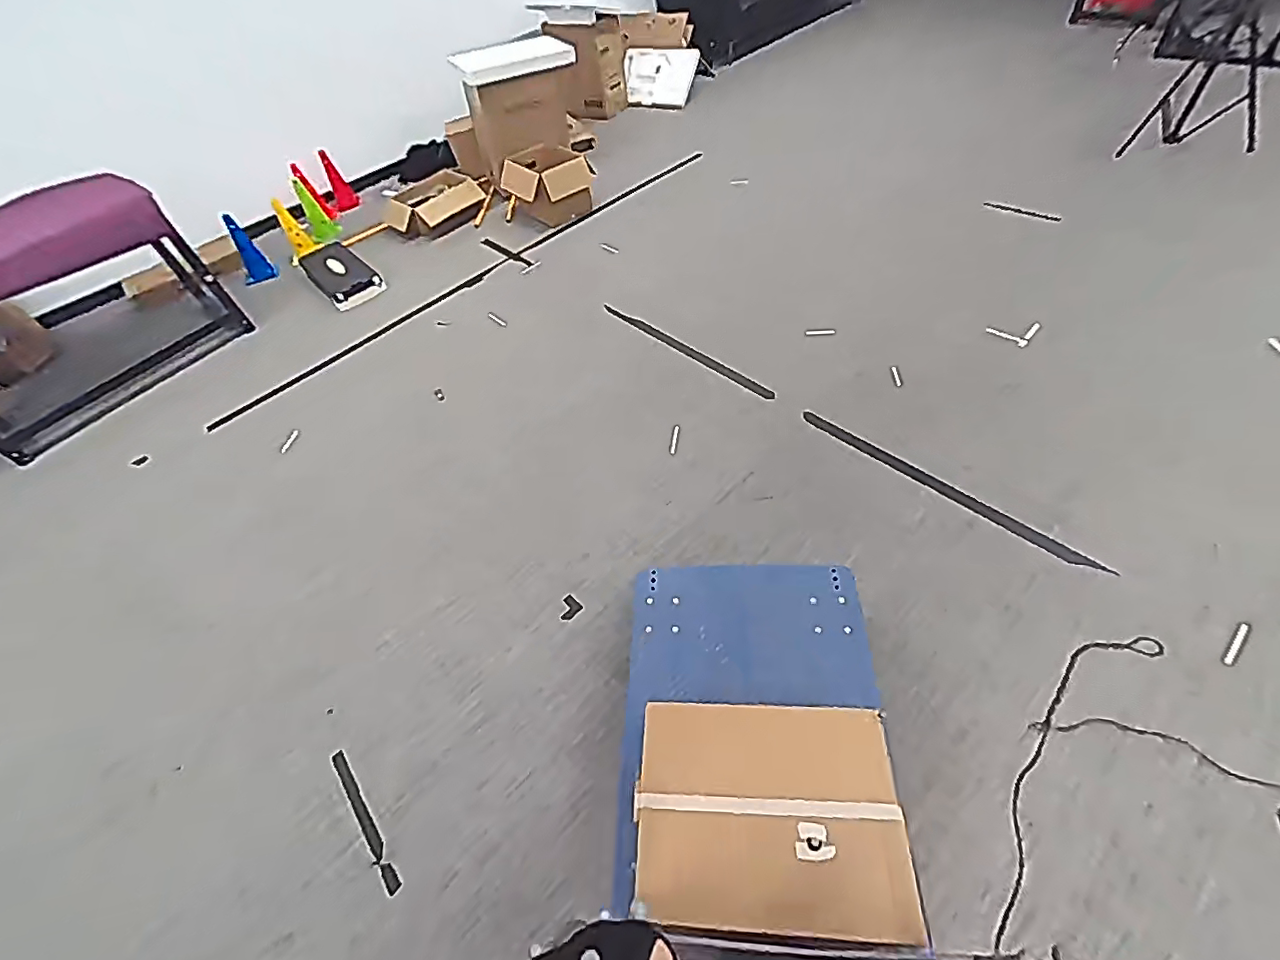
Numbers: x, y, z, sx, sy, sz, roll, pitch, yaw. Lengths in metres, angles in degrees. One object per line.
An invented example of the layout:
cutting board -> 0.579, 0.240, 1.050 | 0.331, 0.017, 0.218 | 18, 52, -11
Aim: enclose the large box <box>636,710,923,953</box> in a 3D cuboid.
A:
large box -> 0.211, 0.623, 0.961 | 0.408, 0.320, 0.320 | -1, 50, 7
